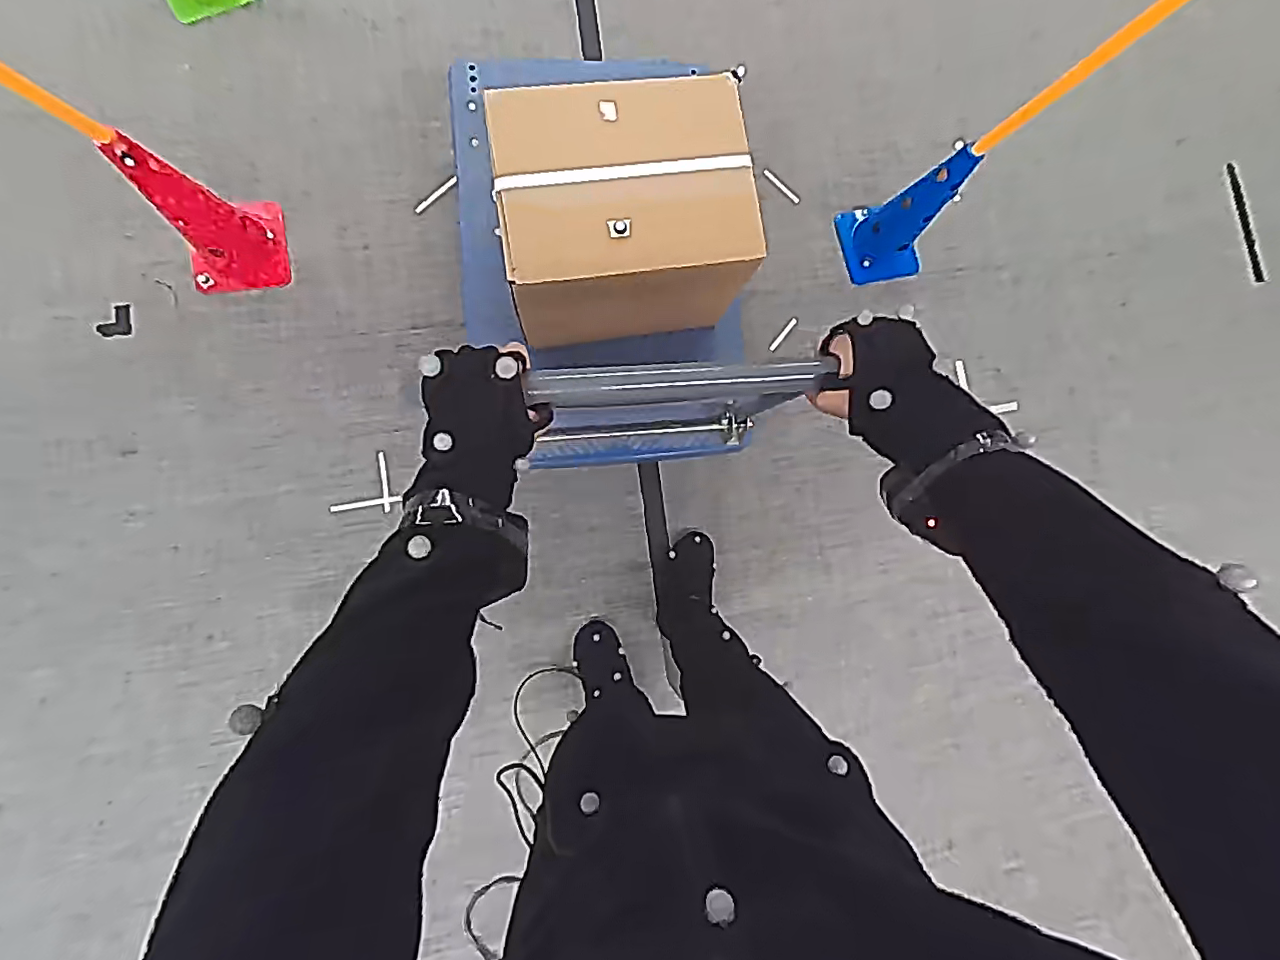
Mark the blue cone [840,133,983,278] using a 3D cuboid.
[{"bbox_3d":[0.646,-0.641,1.251,0.193,0.380,0.192,-12,86,-8],"label":"blue cone"}]
